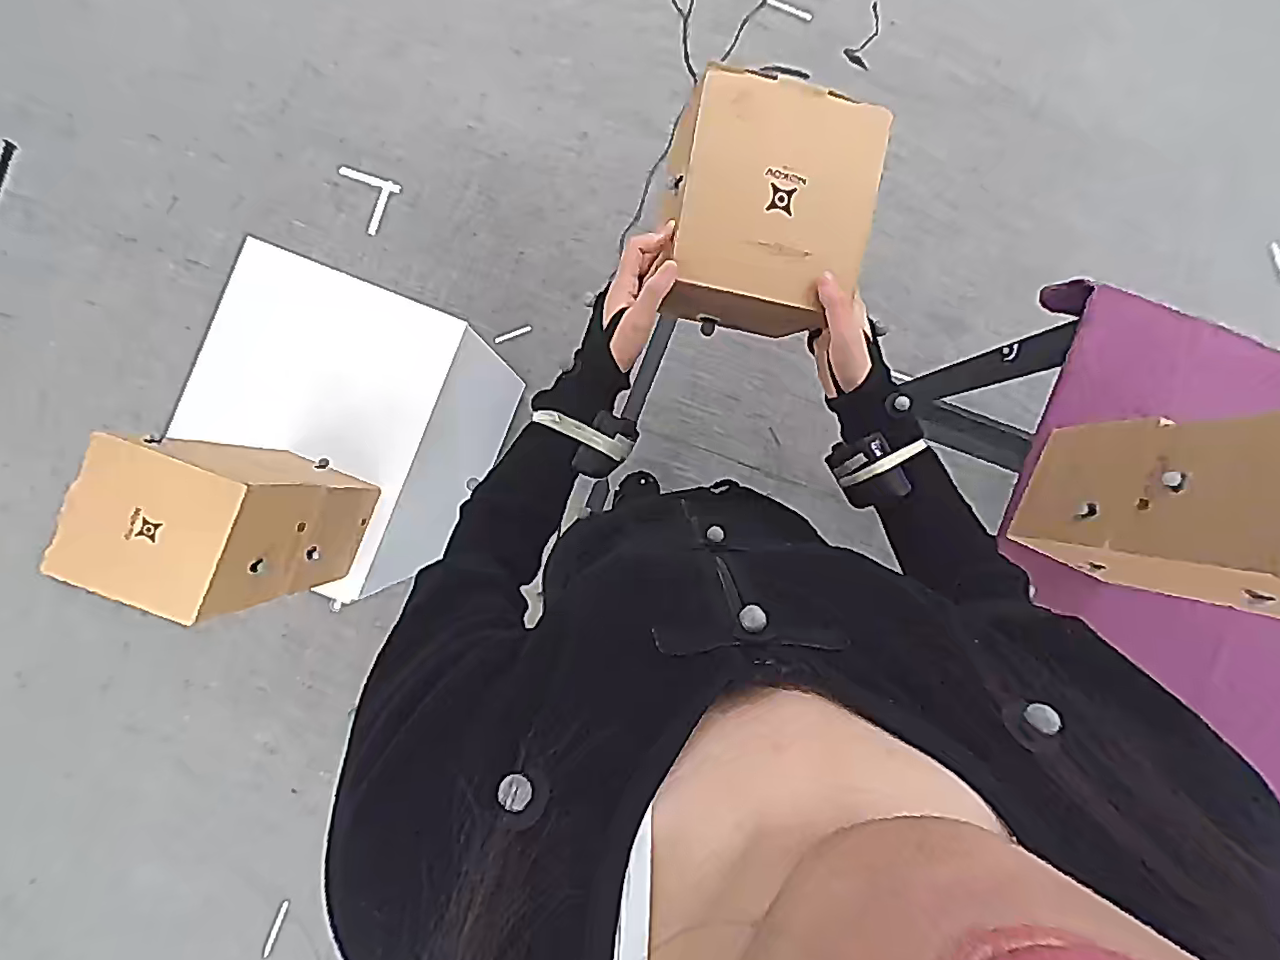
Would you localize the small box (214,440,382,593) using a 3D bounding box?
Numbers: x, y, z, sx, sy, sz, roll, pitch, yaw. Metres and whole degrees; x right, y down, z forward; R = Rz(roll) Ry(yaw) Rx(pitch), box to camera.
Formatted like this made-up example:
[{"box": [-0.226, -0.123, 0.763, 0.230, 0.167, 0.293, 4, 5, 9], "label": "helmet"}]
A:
[{"box": [-0.535, 0.053, 0.822, 0.179, 0.176, 0.168, 22, 88, 0], "label": "small box"}]

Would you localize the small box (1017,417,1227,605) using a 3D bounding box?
[{"box": [0.650, 0.038, 0.716, 0.168, 0.176, 0.179, 25, 89, -1], "label": "small box"}]

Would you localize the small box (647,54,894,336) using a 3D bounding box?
[{"box": [0.108, -0.250, 0.525, 0.168, 0.176, 0.179, 9, 97, -9], "label": "small box"}]

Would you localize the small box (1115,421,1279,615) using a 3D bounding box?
[{"box": [0.662, 0.043, 0.552, 0.179, 0.176, 0.168, 24, 89, 0], "label": "small box"}]

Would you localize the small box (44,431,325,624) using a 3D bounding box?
[{"box": [-0.529, 0.051, 0.658, 0.179, 0.176, 0.168, 20, 89, -1], "label": "small box"}]
